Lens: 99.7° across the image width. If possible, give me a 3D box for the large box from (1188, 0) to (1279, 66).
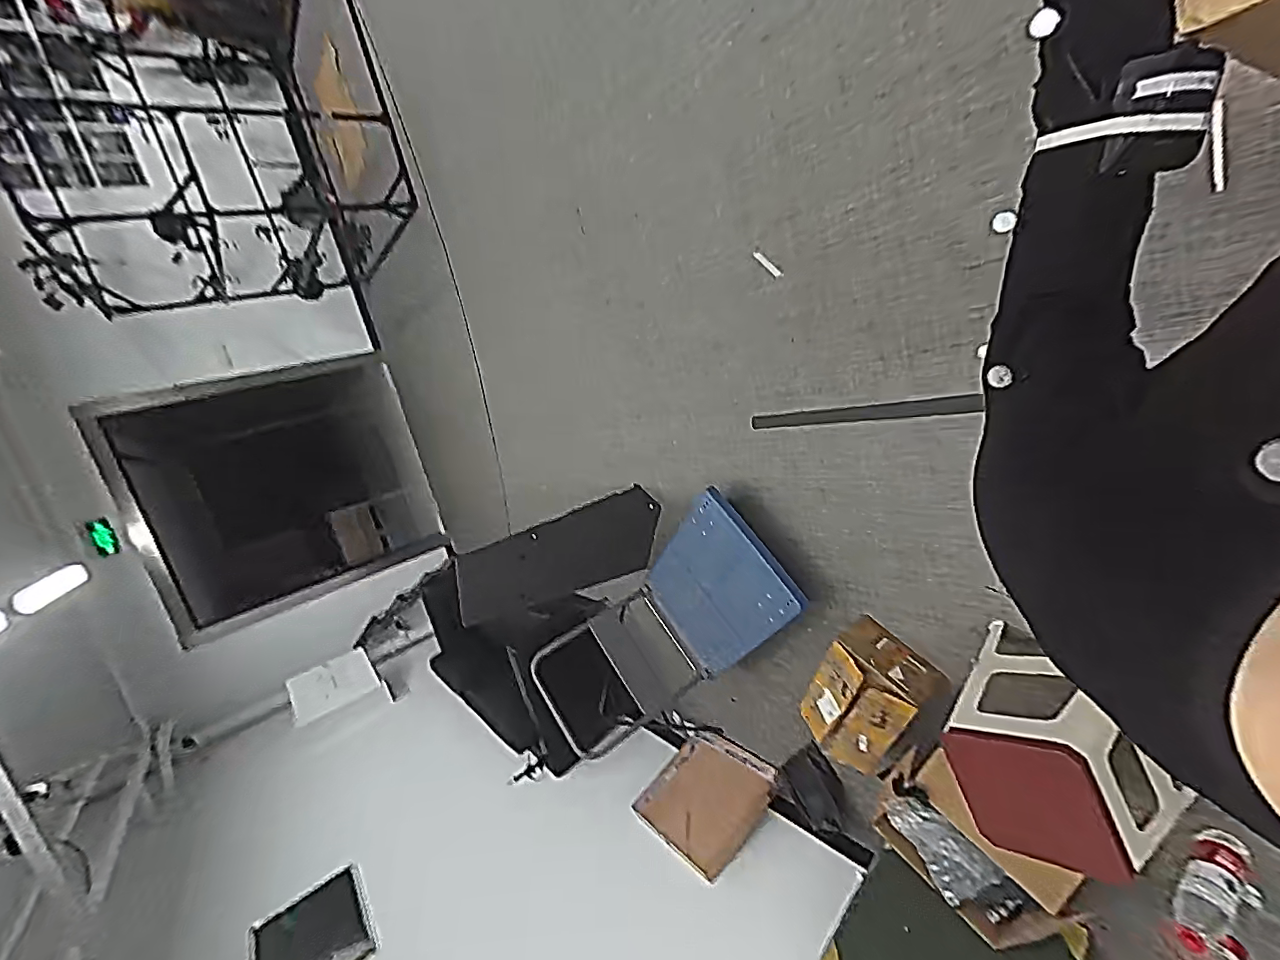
[{"bbox_3d":[0.536,-0.468,0.223,0.408,0.320,0.320,4,110,57],"label":"large box"}]
